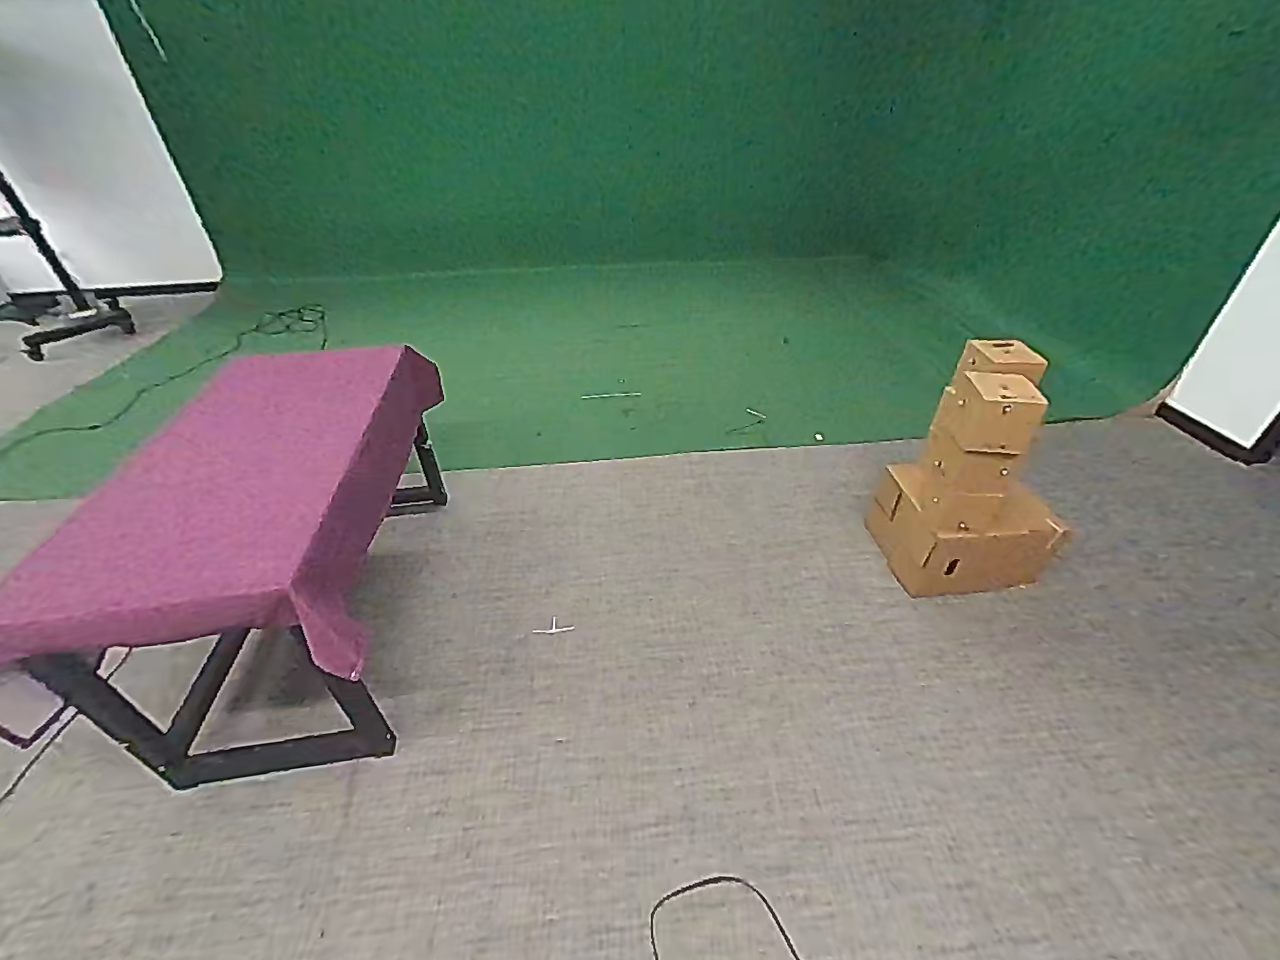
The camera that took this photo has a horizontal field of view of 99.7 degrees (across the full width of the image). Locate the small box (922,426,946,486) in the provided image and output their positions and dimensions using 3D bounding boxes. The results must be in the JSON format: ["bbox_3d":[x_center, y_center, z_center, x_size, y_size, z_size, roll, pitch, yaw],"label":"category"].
[{"bbox_3d":[1.154,-0.084,1.946,0.168,0.176,0.179,-3,37,-6],"label":"small box"}]

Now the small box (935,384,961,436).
[{"bbox_3d":[1.154,-0.215,1.849,0.179,0.176,0.168,-3,38,-3],"label":"small box"}]

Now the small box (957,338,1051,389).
[{"bbox_3d":[1.164,-0.347,1.749,0.168,0.176,0.179,0,38,1],"label":"small box"}]

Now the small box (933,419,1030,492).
[{"bbox_3d":[1.042,-0.077,1.666,0.179,0.176,0.168,2,38,3],"label":"small box"}]

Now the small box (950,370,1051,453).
[{"bbox_3d":[1.024,-0.199,1.555,0.168,0.176,0.179,5,37,7],"label":"small box"}]
